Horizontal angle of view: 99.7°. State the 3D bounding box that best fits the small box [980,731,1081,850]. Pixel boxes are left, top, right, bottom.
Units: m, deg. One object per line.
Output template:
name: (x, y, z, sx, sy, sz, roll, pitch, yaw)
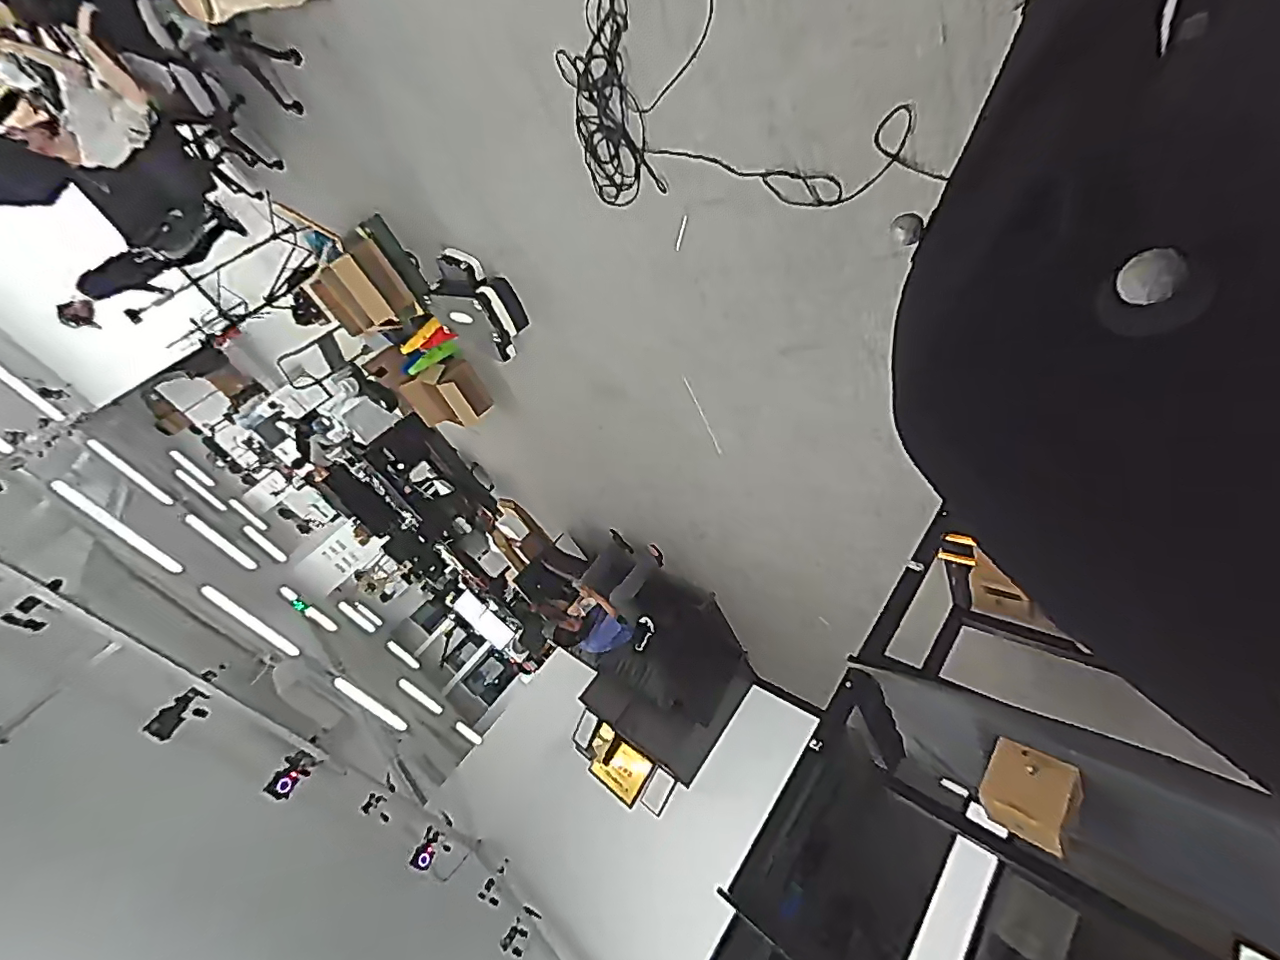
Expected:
small box: (0.986, 0.773, 1.359, 0.168, 0.176, 0.179, 10, 142, 49)
